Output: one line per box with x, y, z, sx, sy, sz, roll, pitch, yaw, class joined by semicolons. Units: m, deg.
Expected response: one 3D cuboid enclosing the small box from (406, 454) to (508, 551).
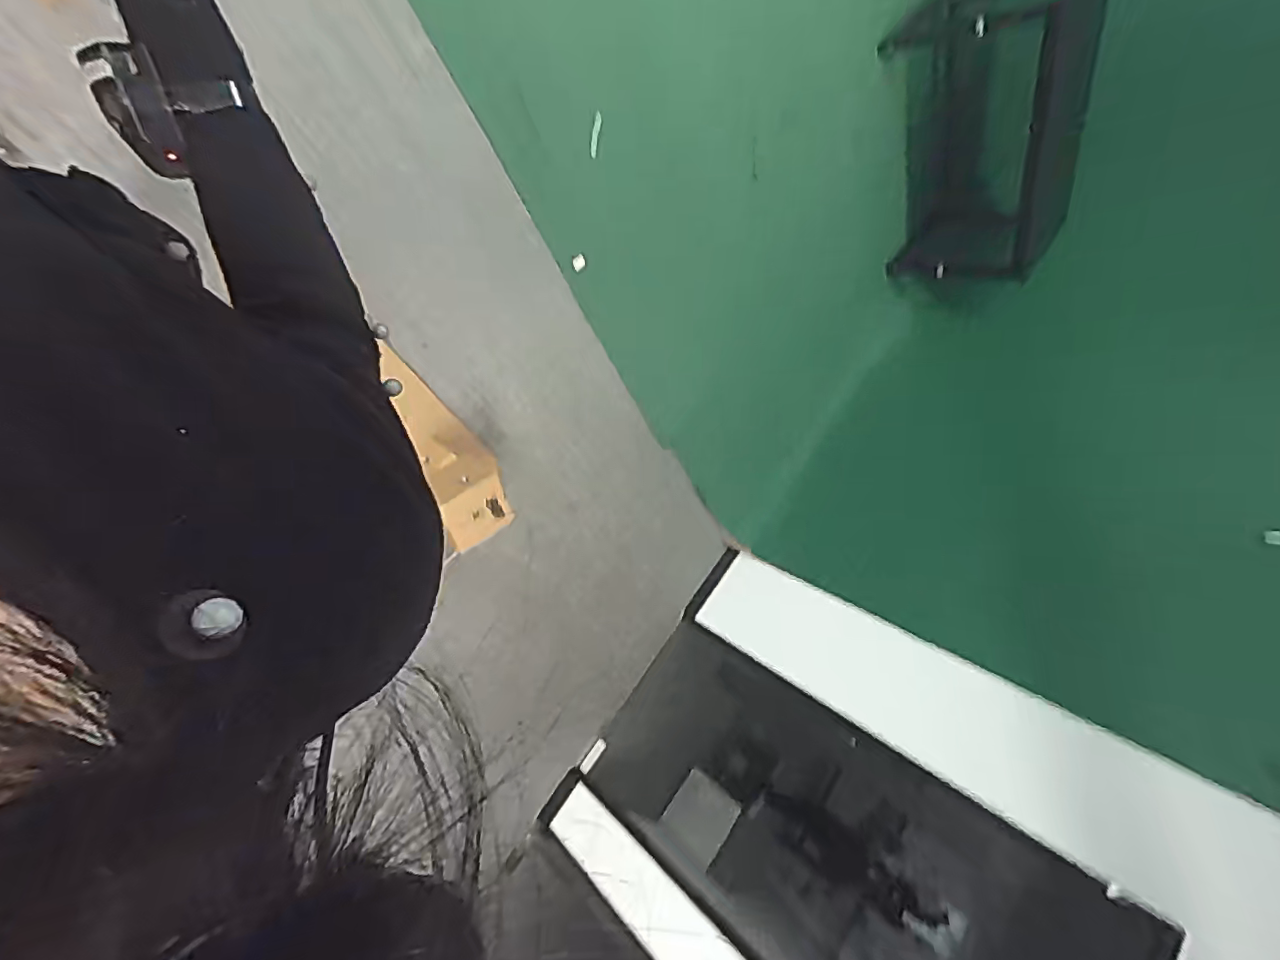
-0.492;0.052;1.456;0.179;0.176;0.168;-35;133;-30;small box

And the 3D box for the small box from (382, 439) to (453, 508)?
-0.606;-0.001;1.563;0.168;0.176;0.179;-49;139;-18;small box
